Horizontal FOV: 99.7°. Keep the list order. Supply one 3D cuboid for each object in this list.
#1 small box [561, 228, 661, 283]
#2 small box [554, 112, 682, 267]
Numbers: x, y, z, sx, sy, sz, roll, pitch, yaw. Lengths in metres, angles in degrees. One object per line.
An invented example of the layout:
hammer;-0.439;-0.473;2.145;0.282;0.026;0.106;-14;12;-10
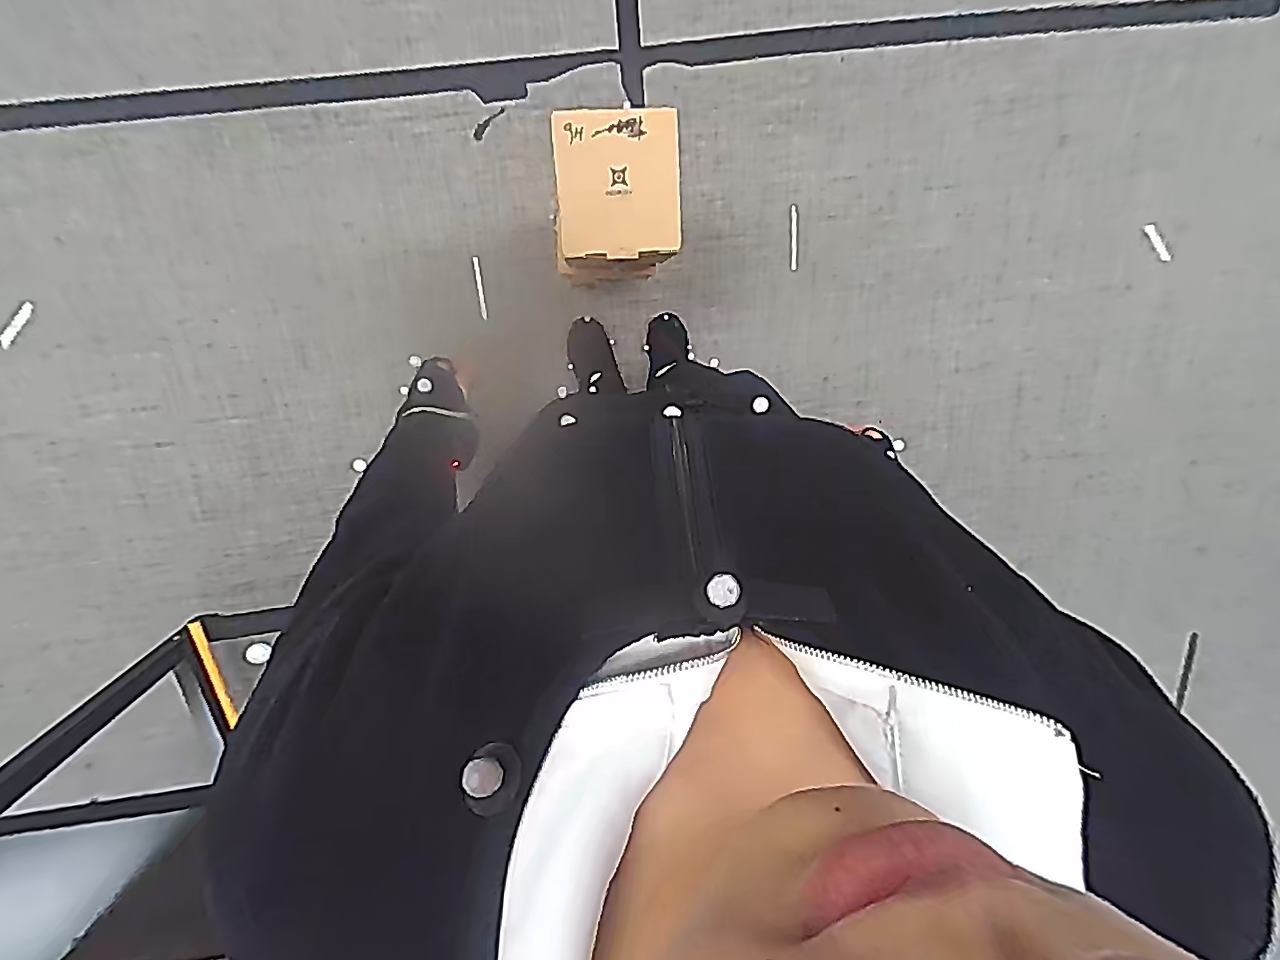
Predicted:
small box;-0.053;-0.442;0.948;0.168;0.176;0.179;-1;109;-4
small box;-0.030;-0.408;0.788;0.168;0.176;0.179;-4;108;-4
